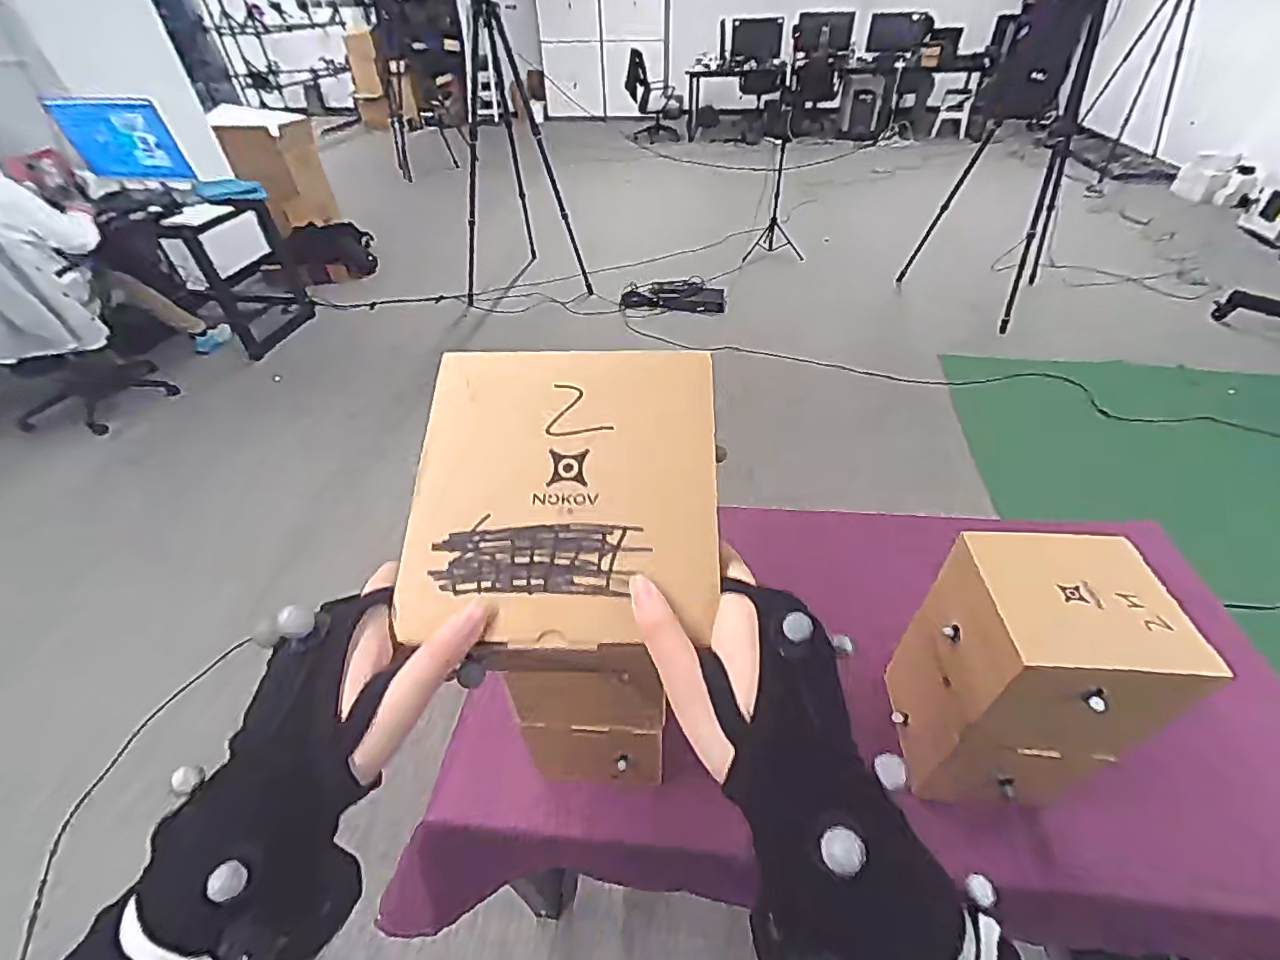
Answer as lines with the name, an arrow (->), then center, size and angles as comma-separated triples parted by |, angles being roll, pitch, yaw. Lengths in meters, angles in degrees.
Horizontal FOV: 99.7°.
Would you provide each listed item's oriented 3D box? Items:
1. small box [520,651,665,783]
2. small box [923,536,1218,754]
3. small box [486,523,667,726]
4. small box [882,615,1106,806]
small box -> -0.052, 0.290, 0.738 | 0.168, 0.176, 0.179 | 3, 42, 4
small box -> 0.435, 0.181, 0.593 | 0.179, 0.176, 0.168 | 3, 42, 5
small box -> -0.059, 0.169, 0.630 | 0.179, 0.176, 0.168 | 2, 42, 2
small box -> 0.437, 0.302, 0.706 | 0.168, 0.176, 0.179 | 3, 43, 5
